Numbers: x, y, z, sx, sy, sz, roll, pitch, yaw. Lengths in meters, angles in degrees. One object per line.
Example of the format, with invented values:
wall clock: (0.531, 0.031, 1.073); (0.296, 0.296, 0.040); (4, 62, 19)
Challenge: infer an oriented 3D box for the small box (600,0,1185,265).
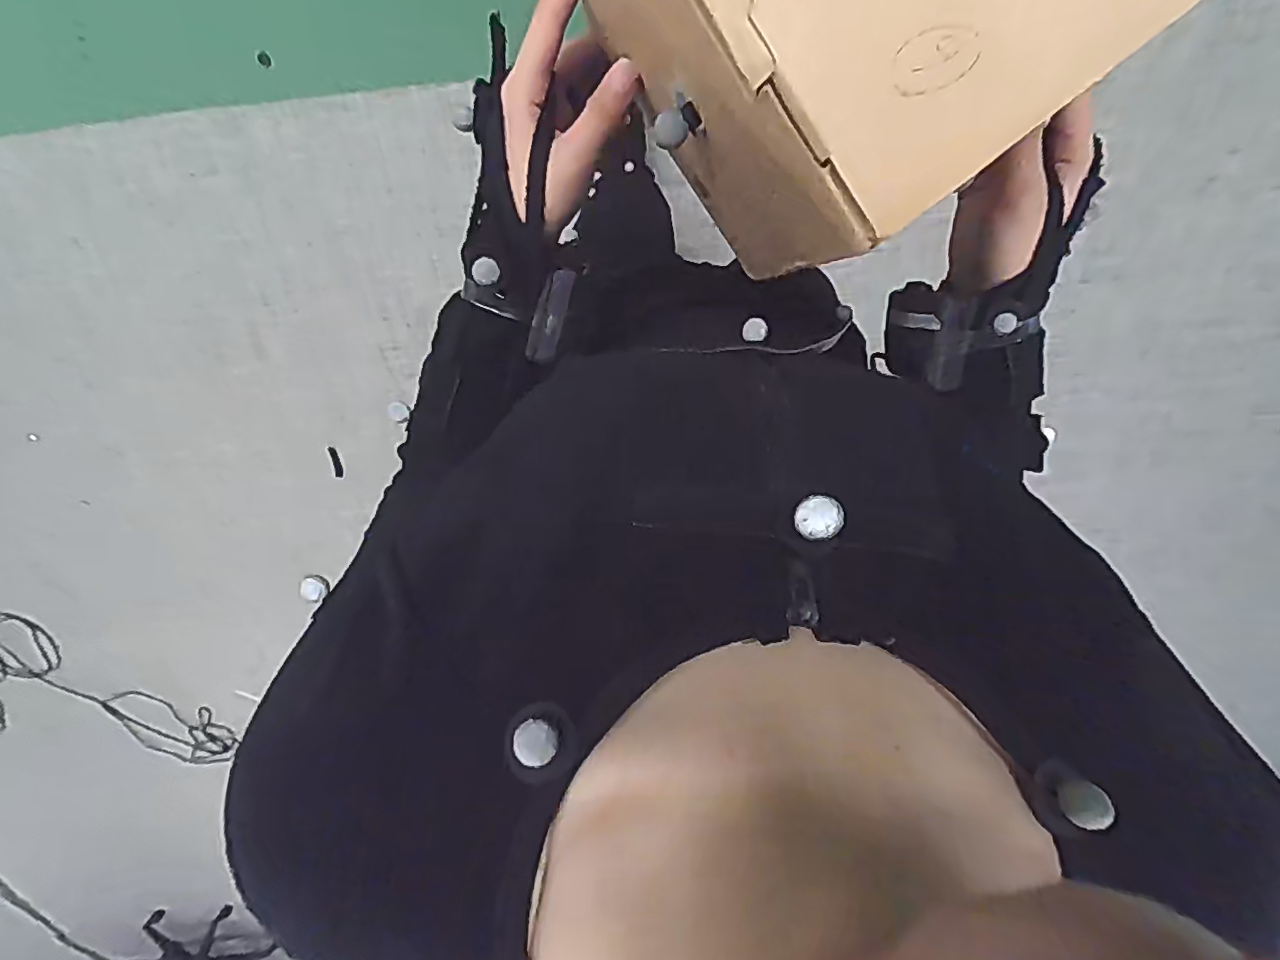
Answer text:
small box: (0.089, -0.208, 0.215); (0.179, 0.176, 0.168); (-36, 104, 10)
